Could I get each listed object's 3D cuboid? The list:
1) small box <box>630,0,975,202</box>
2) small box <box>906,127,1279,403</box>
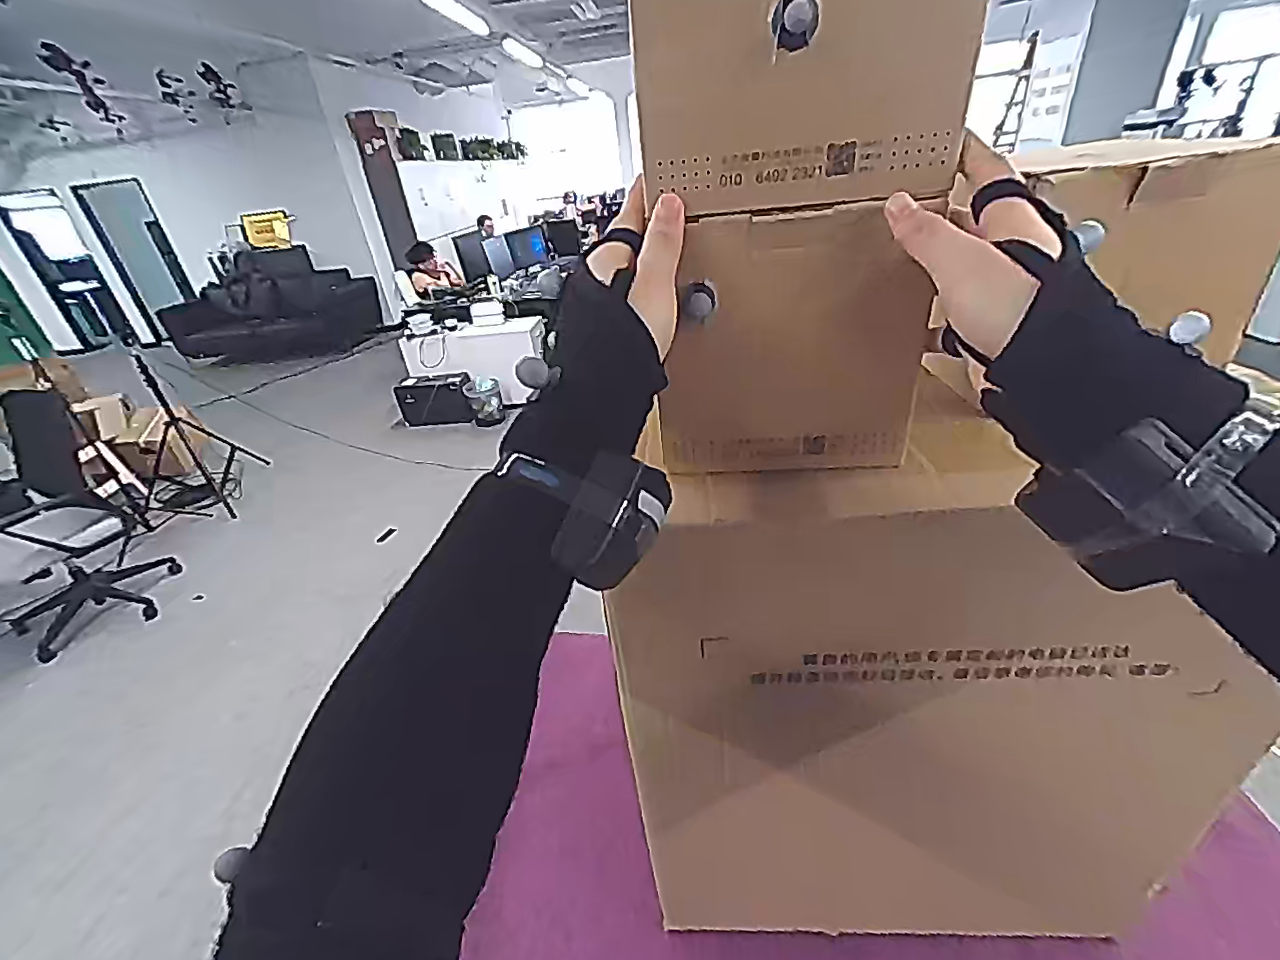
[{"bbox_3d":[0.083,-0.268,0.321,0.168,0.176,0.179,-2,32,6],"label":"small box"},{"bbox_3d":[0.338,-0.175,0.440,0.168,0.176,0.179,-5,31,5],"label":"small box"}]
